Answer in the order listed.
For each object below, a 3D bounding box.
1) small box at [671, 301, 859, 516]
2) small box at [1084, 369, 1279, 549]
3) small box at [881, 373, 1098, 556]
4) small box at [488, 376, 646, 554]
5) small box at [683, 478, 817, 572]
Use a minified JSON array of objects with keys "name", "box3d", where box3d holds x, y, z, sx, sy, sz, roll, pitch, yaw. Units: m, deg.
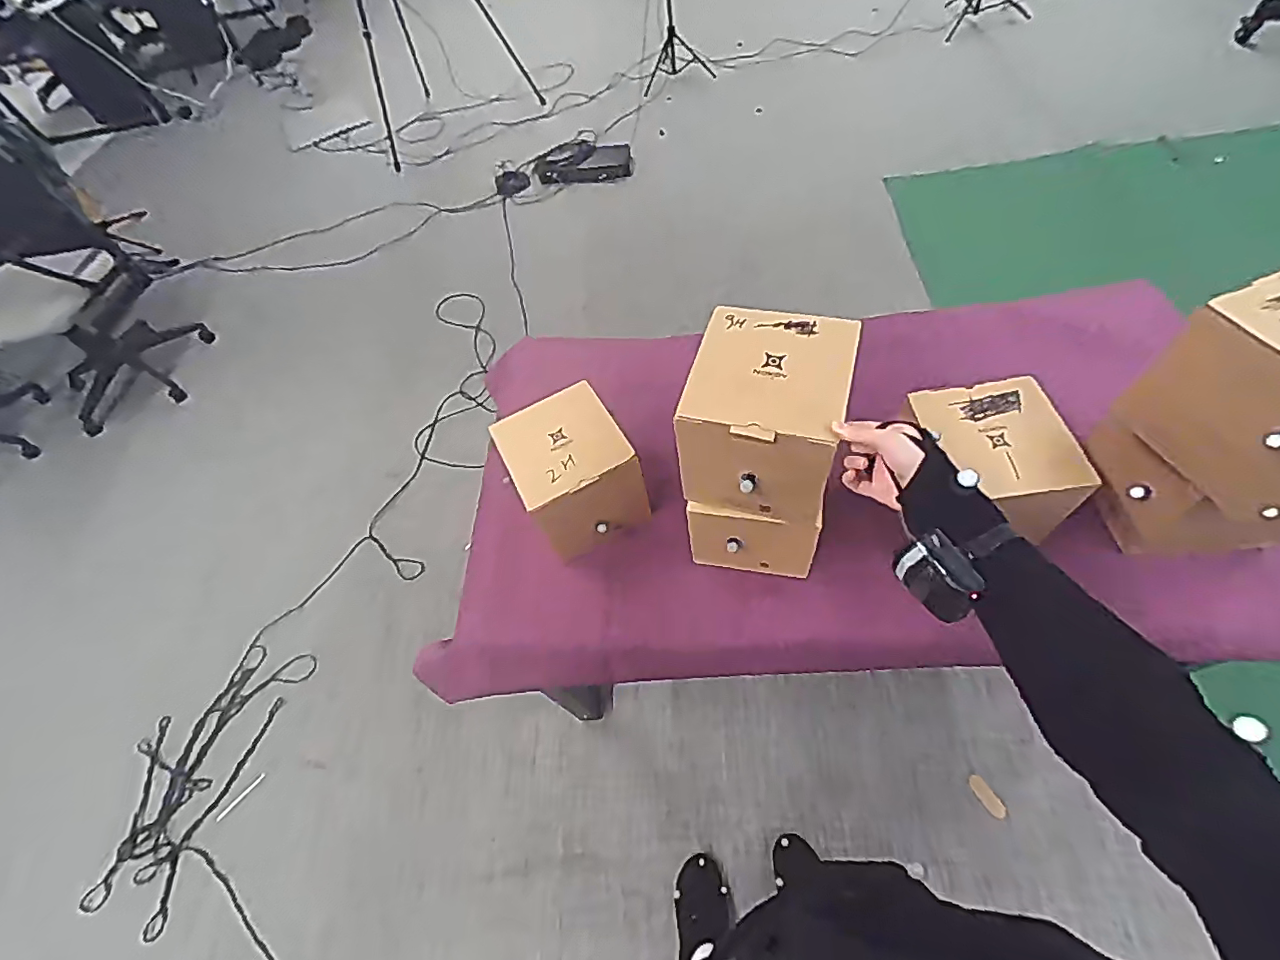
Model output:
[{"name":"small box","box3d":[0.146,-0.079,0.635,0.168,0.176,0.179,12,61,16]},{"name":"small box","box3d":[0.720,-0.019,0.695,0.179,0.176,0.168,-3,56,7]},{"name":"small box","box3d":[0.451,-0.016,0.738,0.168,0.176,0.179,-8,57,5]},{"name":"small box","box3d":[-0.106,-0.019,0.828,0.168,0.176,0.179,-28,58,-8]},{"name":"small box","box3d":[0.163,0.015,0.768,0.168,0.176,0.179,6,58,14]}]
